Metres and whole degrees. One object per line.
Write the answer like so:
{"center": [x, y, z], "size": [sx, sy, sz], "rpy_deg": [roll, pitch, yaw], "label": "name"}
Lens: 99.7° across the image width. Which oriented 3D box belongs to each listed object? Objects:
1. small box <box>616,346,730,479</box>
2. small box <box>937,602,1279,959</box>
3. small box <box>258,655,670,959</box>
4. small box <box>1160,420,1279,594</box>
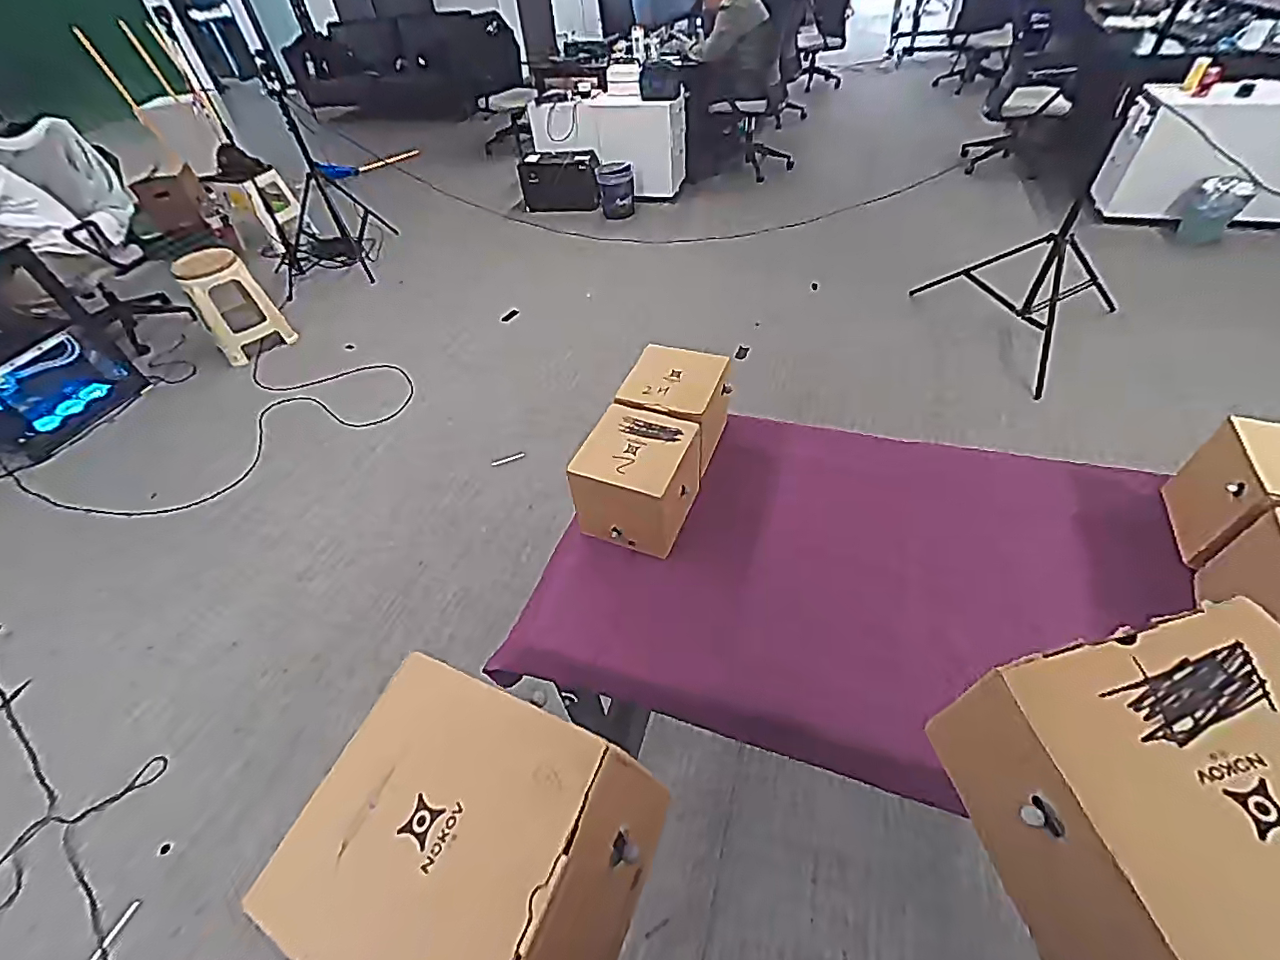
{"center": [0.067, -0.132, 1.049], "size": [0.168, 0.176, 0.179], "rpy_deg": [14, 51, 18], "label": "small box"}
{"center": [0.328, 0.209, 0.346], "size": [0.168, 0.176, 0.179], "rpy_deg": [-16, 53, 0], "label": "small box"}
{"center": [-0.097, 0.253, 0.377], "size": [0.179, 0.176, 0.168], "rpy_deg": [10, 55, 28], "label": "small box"}
{"center": [0.936, 0.042, 0.807], "size": [0.168, 0.176, 0.179], "rpy_deg": [15, 49, 17], "label": "small box"}
